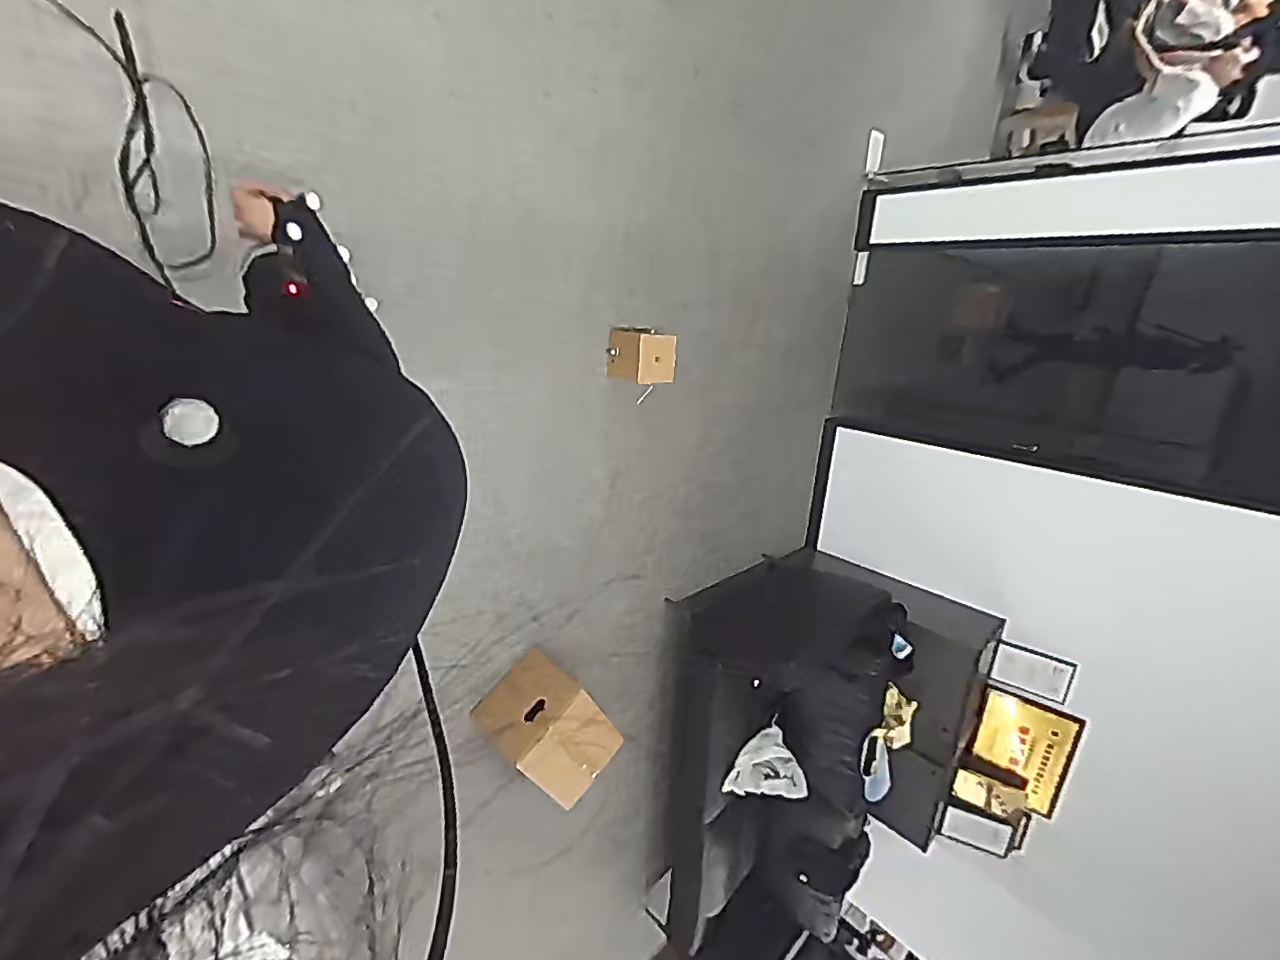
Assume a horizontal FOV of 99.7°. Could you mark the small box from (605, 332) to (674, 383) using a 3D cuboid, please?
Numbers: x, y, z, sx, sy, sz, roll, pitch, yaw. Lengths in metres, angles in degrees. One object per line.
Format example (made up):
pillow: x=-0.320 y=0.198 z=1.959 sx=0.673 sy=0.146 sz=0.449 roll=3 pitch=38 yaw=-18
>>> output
small box: x=-0.003 y=-0.441 z=1.931 sx=0.179 sy=0.176 sz=0.168 roll=-13 pitch=113 yaw=-41
